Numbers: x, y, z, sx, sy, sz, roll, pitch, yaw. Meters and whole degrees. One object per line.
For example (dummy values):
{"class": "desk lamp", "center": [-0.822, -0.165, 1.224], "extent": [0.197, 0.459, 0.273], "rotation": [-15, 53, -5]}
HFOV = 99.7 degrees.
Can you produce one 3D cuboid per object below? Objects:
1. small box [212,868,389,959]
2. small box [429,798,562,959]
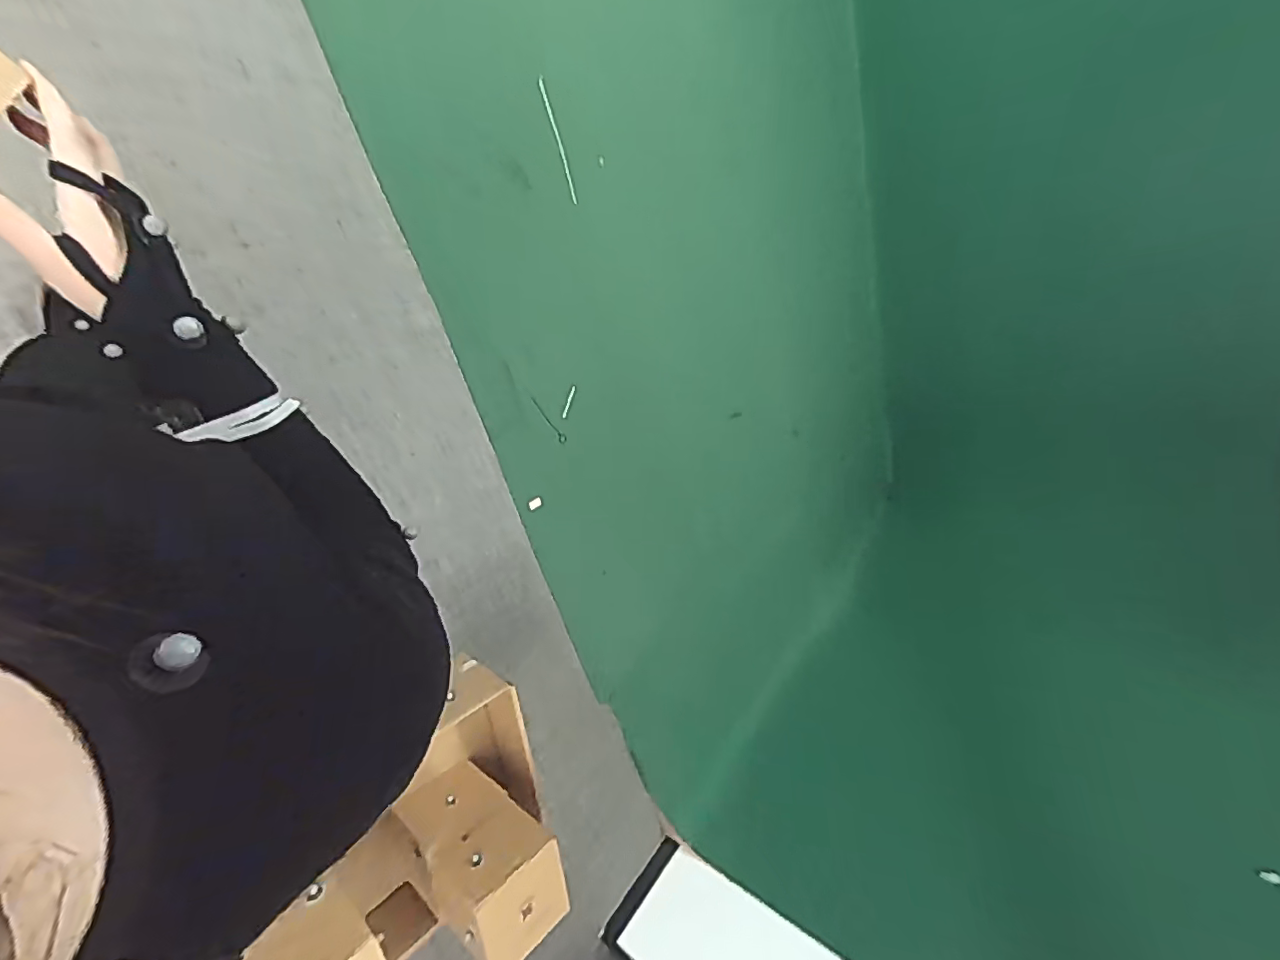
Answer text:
{"class": "small box", "center": [-0.475, 0.710, 0.776], "extent": [0.168, 0.176, 0.179], "rotation": [-27, 118, -43]}
{"class": "small box", "center": [-0.271, 0.734, 1.008], "extent": [0.168, 0.176, 0.179], "rotation": [-20, 111, -44]}
